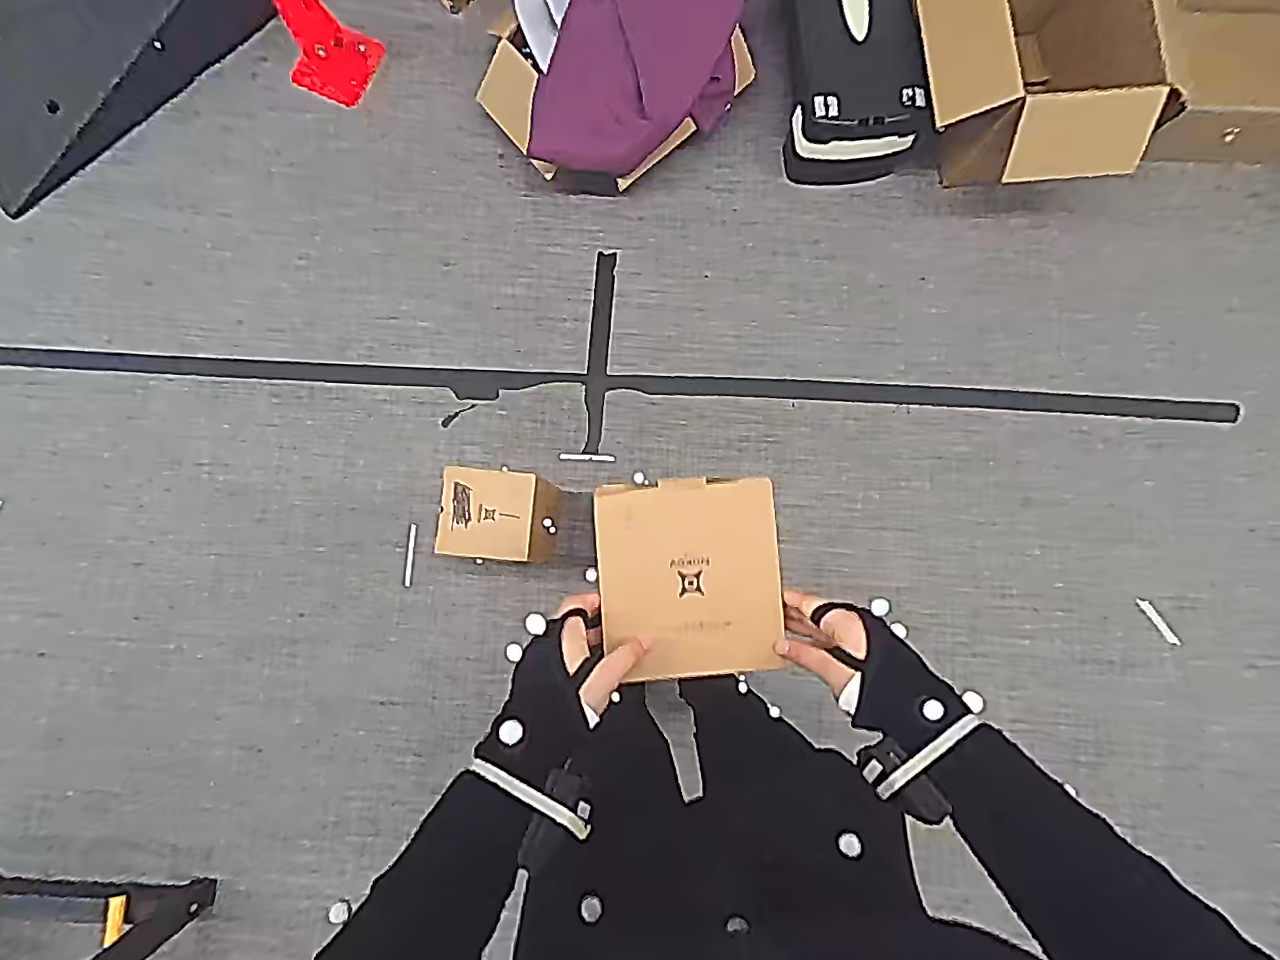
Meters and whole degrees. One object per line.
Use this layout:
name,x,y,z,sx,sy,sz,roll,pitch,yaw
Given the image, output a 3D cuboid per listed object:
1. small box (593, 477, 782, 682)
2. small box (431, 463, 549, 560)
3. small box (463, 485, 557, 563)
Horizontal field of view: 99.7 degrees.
small box,0.038,0.092,0.566,0.168,0.176,0.179,-4,89,-2
small box,-0.289,0.066,1.074,0.179,0.176,0.168,6,85,0
small box,-0.290,0.088,1.238,0.168,0.176,0.179,6,86,1
